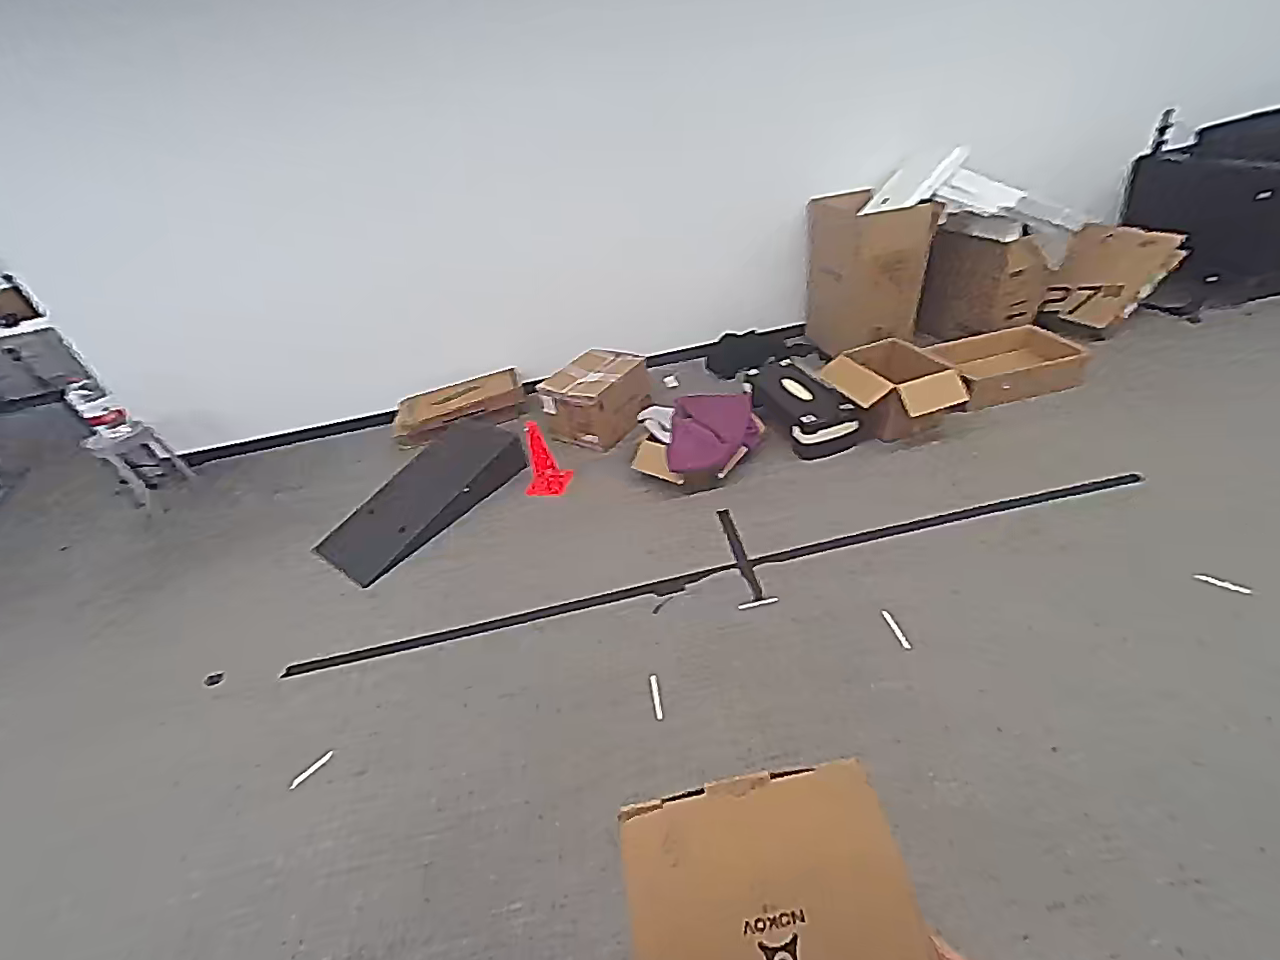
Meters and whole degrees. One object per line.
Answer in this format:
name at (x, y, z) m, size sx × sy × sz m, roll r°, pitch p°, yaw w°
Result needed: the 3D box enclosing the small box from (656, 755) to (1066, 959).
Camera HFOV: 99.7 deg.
small box at (0.108, 0.271, 0.282) m, size 0.168 × 0.176 × 0.179 m, roll -12°, pitch 50°, yaw -1°
